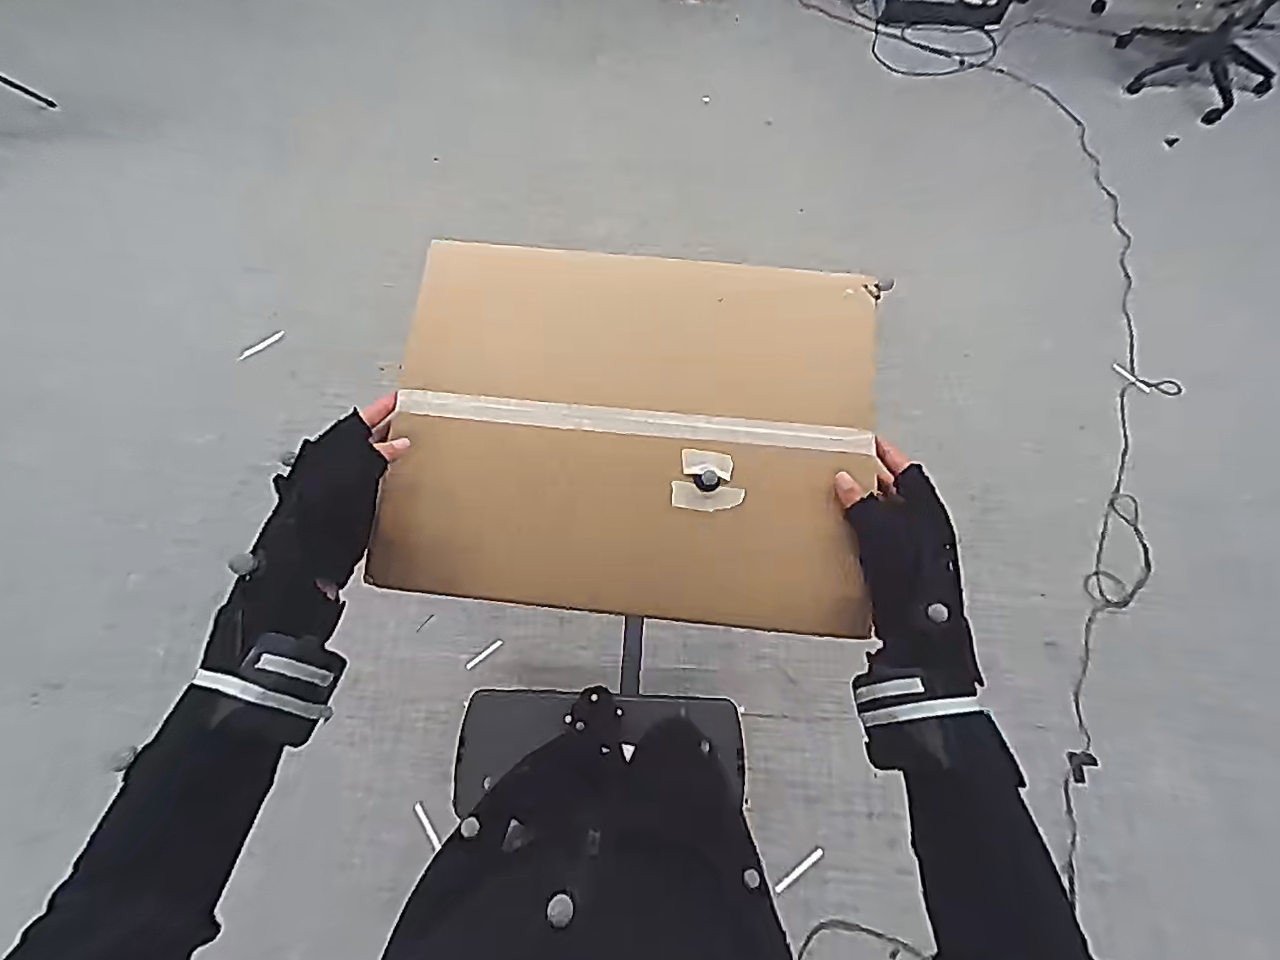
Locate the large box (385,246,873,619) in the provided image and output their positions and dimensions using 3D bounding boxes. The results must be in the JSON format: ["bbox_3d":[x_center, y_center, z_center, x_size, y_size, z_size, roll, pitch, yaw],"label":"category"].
[{"bbox_3d":[0.000,-0.023,0.613,0.408,0.320,0.320,6,79,2],"label":"large box"}]
